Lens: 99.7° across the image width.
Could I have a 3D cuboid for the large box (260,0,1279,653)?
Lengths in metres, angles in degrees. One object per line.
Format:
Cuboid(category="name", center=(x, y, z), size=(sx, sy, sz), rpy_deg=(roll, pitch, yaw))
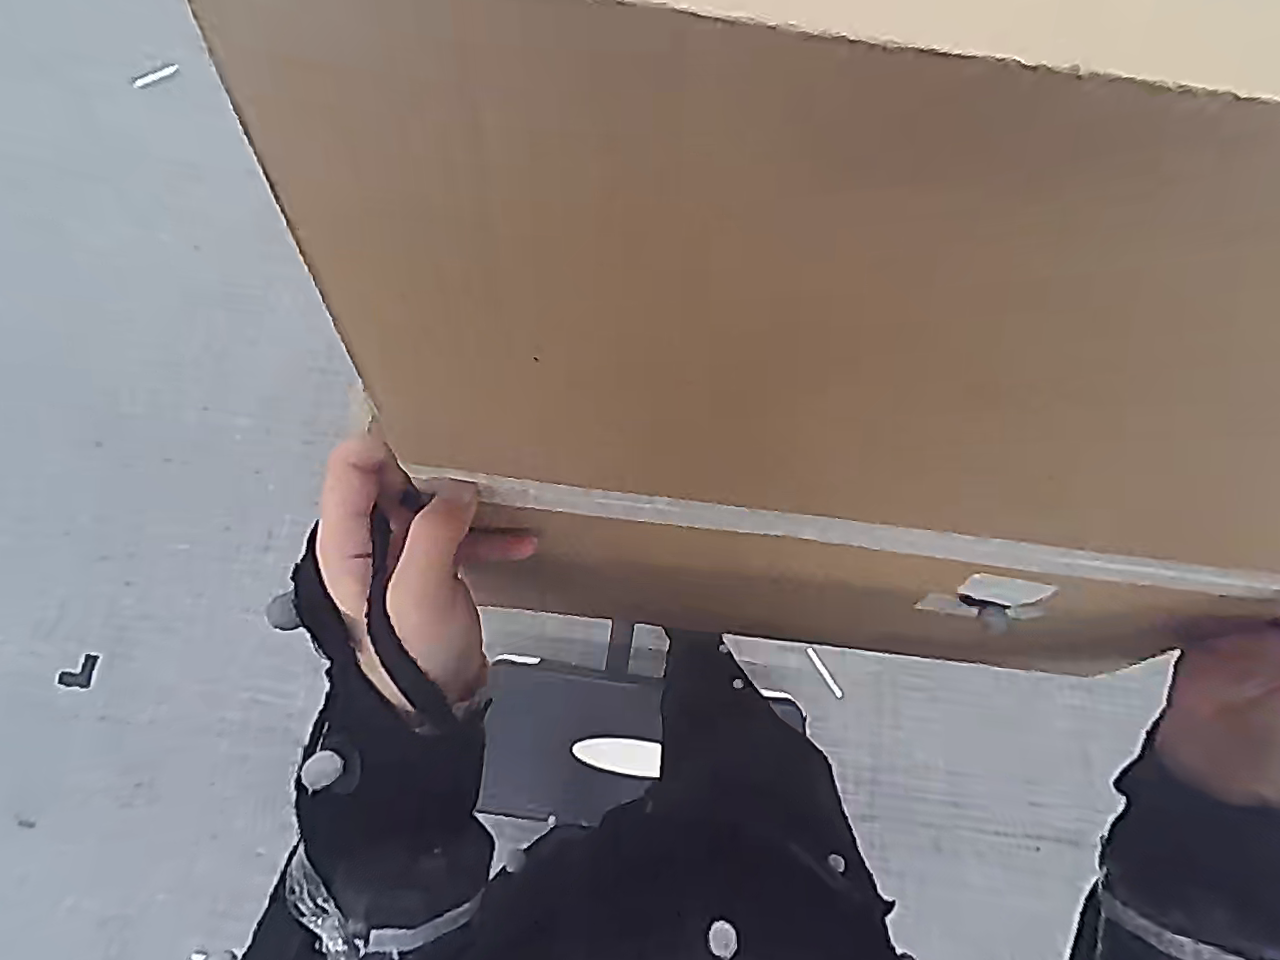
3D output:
Cuboid(category="large box", center=(0.116, -0.111, 0.317), size=(0.408, 0.320, 0.320), rpy_deg=(6, 58, -2))
